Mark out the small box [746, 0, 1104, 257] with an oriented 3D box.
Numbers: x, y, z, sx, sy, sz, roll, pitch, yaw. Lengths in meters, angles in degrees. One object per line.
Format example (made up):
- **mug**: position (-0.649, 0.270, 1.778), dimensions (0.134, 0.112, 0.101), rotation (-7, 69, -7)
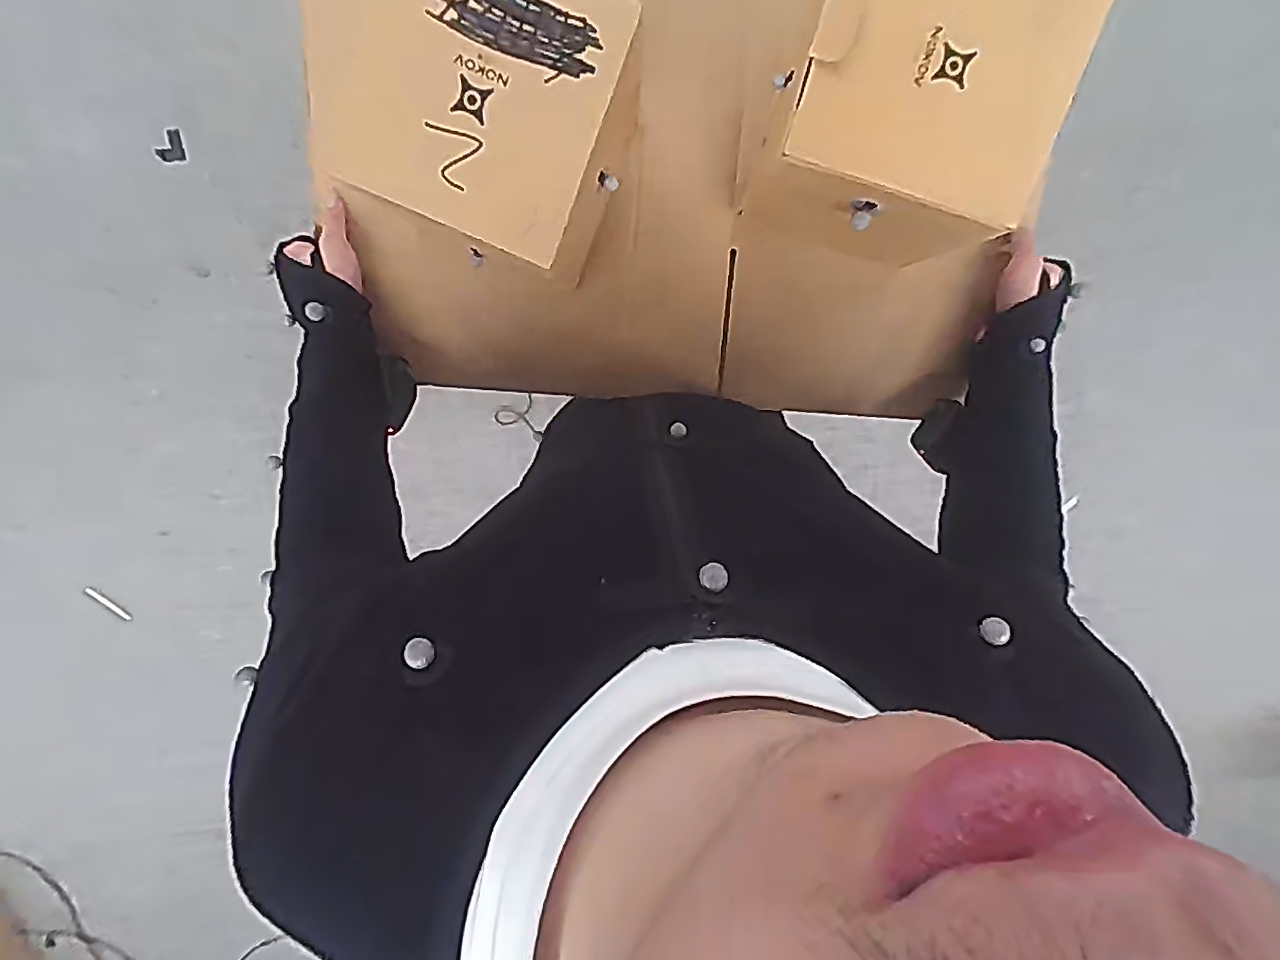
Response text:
- **small box**: position (0.205, -0.297, 0.445), dimensions (0.179, 0.176, 0.168), rotation (17, 103, -2)
